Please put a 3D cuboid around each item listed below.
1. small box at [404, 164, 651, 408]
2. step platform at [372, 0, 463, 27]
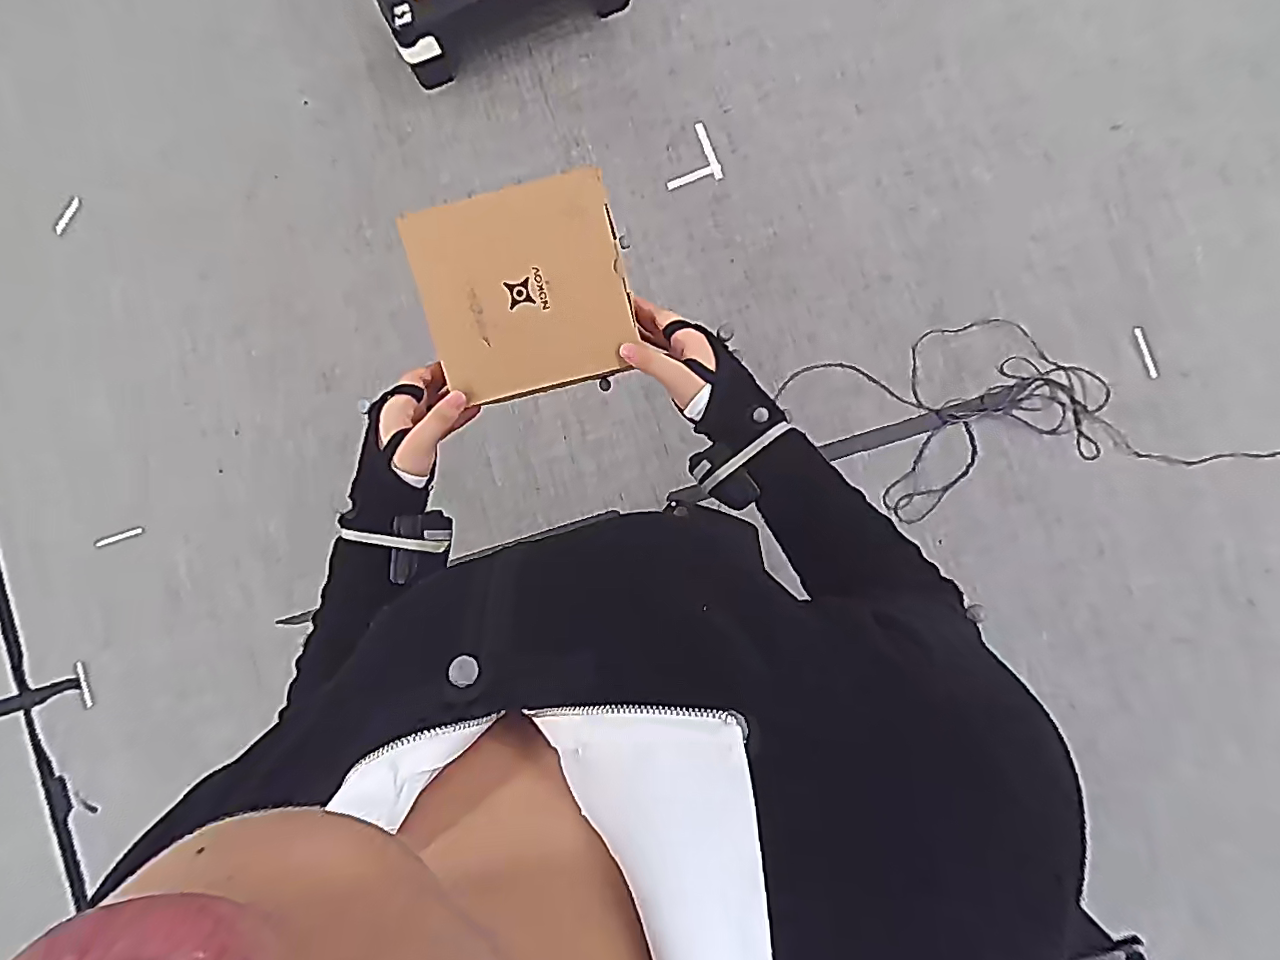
[{"bbox_3d":[-0.094,-0.175,0.535,0.179,0.176,0.168,-15,99,3],"label":"small box"},{"bbox_3d":[-0.384,-1.380,1.281,0.684,0.204,0.286,-20,86,3],"label":"step platform"}]
